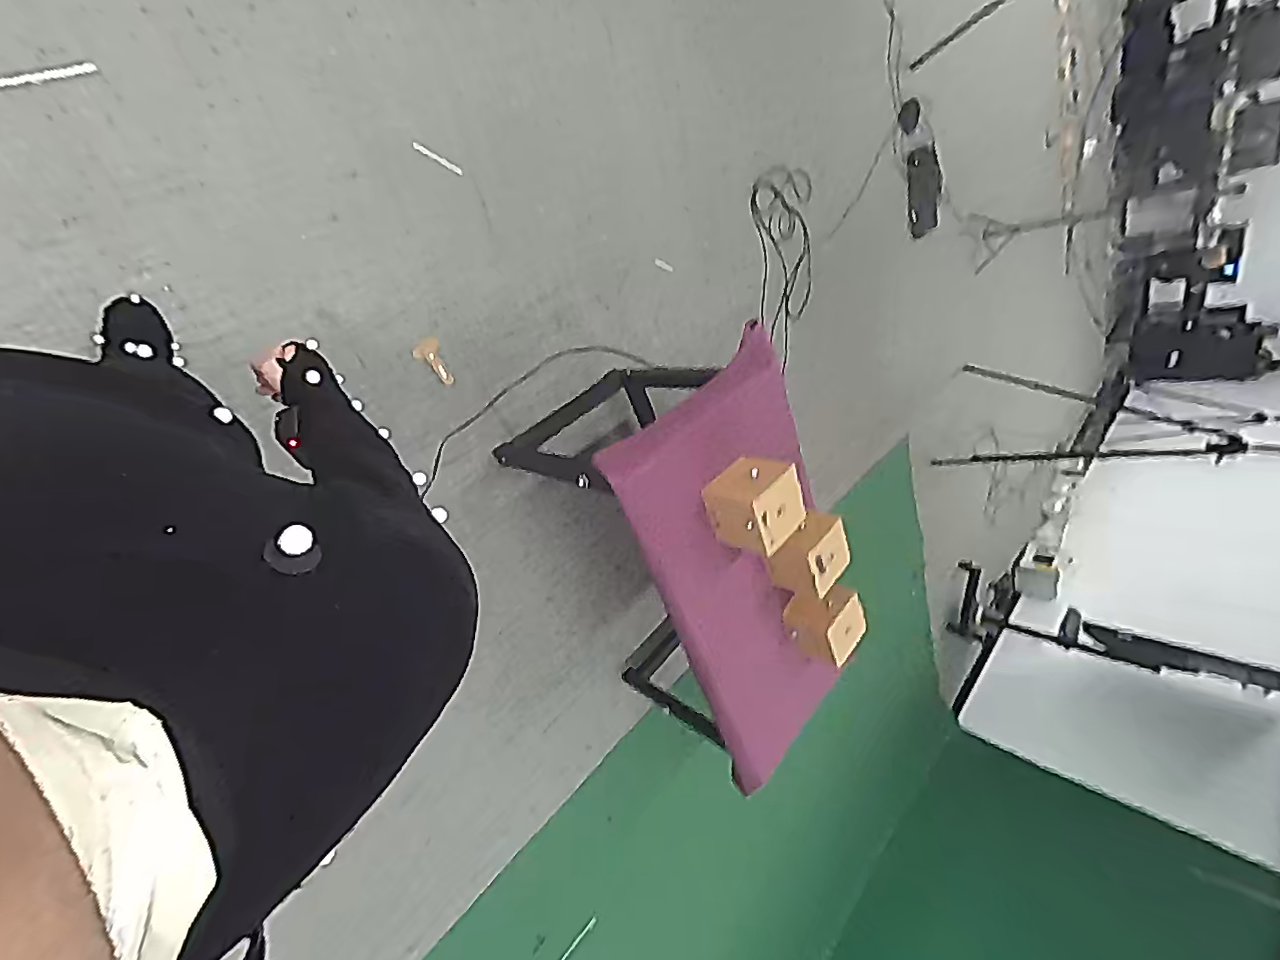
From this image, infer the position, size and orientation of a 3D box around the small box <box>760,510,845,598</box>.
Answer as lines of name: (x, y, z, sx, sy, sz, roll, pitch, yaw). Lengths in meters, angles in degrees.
small box: (0.461, 0.205, 1.562, 0.179, 0.176, 0.168, -40, 122, -29)

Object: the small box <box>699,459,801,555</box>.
small box: (0.280, 0.060, 1.378, 0.179, 0.176, 0.168, -38, 121, -29)

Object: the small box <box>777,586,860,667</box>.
small box: (0.558, 0.440, 1.691, 0.179, 0.176, 0.168, -40, 121, -27)
